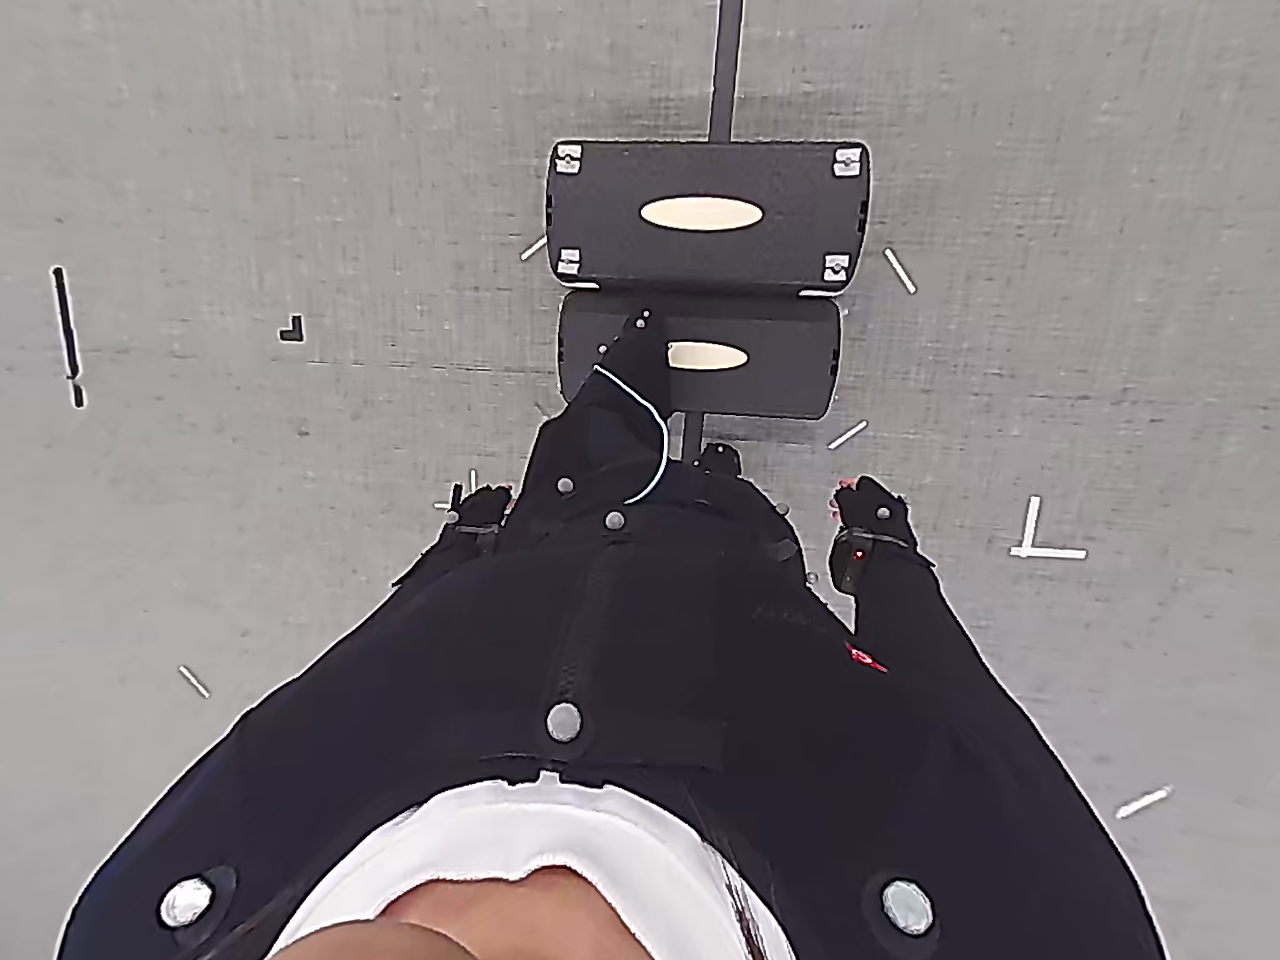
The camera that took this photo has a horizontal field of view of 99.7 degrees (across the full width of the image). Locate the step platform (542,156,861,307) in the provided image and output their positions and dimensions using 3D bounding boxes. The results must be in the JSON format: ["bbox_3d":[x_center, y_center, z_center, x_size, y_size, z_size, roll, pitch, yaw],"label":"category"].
[{"bbox_3d":[0.126,-0.548,1.213,0.684,0.204,0.286,3,105,6],"label":"step platform"}]
